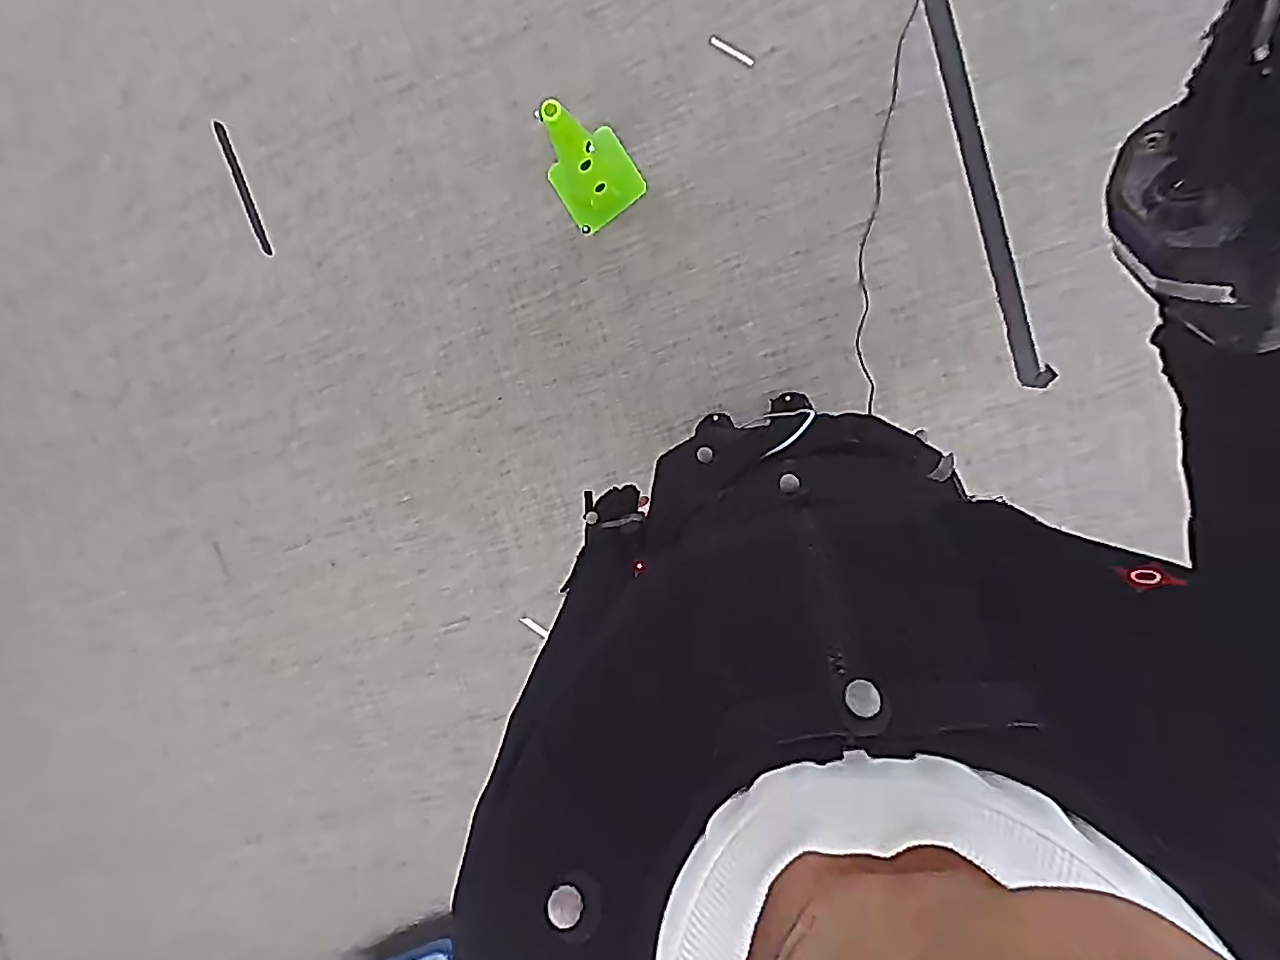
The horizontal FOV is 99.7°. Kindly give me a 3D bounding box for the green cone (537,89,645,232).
[{"bbox_3d":[-0.142,-0.746,1.210,0.200,0.368,0.202,-33,90,12],"label":"green cone"}]
